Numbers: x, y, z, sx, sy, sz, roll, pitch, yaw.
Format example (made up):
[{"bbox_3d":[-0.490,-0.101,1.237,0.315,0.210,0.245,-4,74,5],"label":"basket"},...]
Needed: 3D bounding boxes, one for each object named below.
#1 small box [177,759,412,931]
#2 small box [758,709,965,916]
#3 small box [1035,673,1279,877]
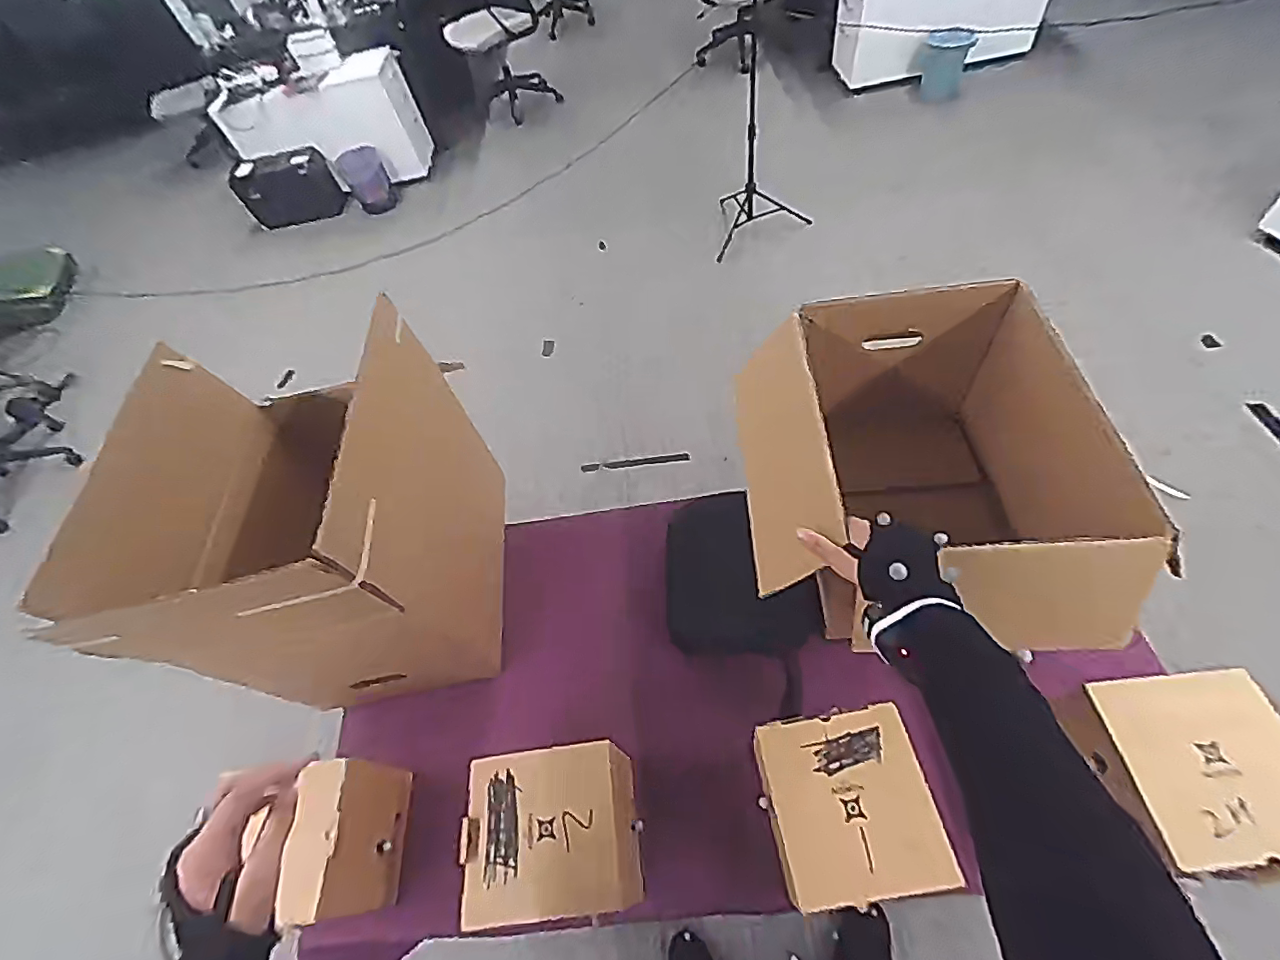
[{"bbox_3d":[-0.434,0.480,0.715,0.179,0.176,0.168,-8,55,4],"label":"small box"},{"bbox_3d":[0.240,0.391,0.642,0.168,0.176,0.179,-12,56,4],"label":"small box"},{"bbox_3d":[0.594,0.335,0.608,0.168,0.176,0.179,-9,55,7],"label":"small box"}]
